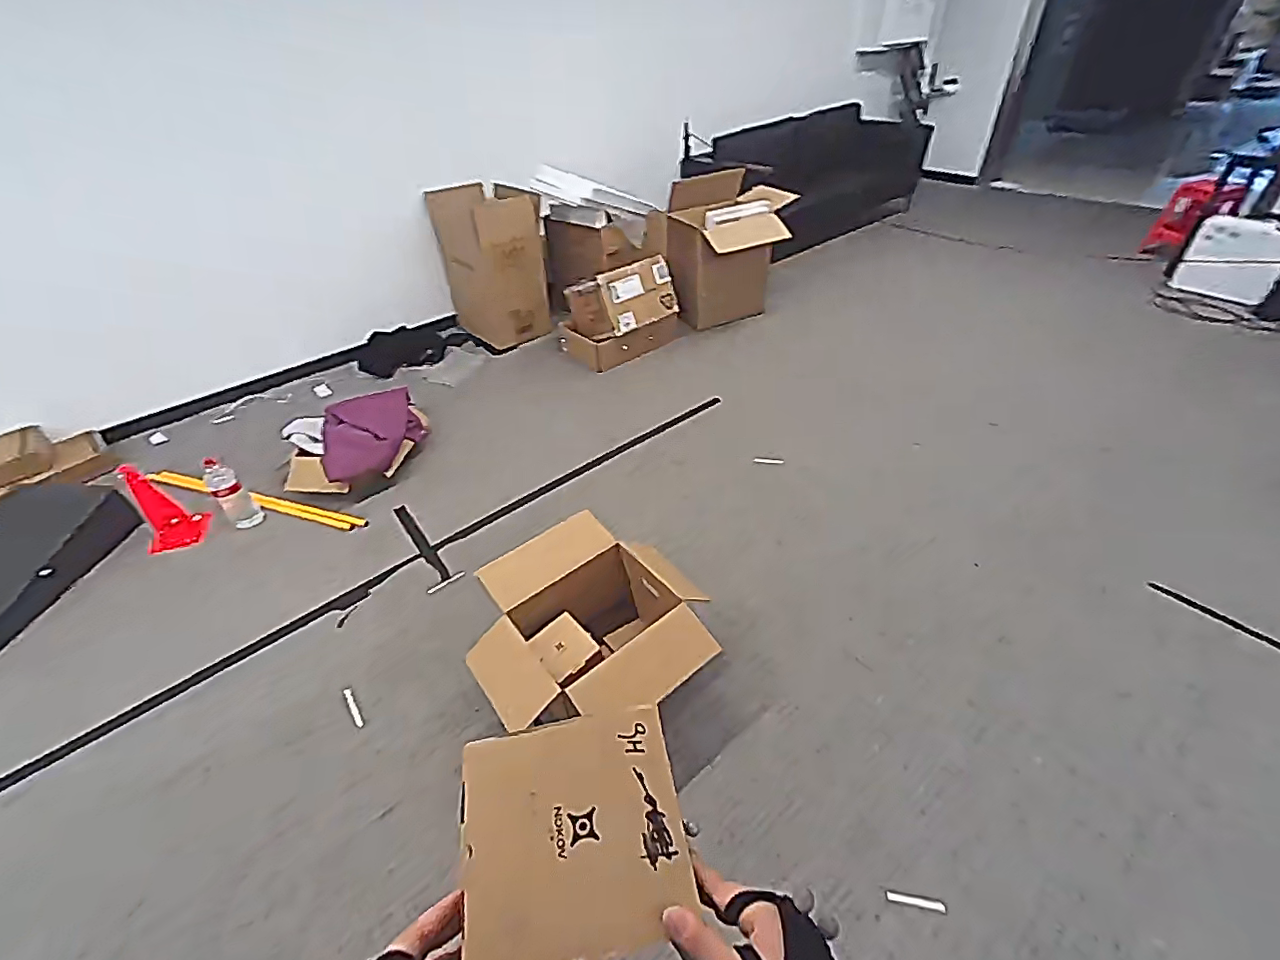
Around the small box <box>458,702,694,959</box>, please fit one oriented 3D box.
[{"bbox_3d":[-0.054,0.330,0.497,0.179,0.176,0.168,-11,50,-5],"label":"small box"}]
